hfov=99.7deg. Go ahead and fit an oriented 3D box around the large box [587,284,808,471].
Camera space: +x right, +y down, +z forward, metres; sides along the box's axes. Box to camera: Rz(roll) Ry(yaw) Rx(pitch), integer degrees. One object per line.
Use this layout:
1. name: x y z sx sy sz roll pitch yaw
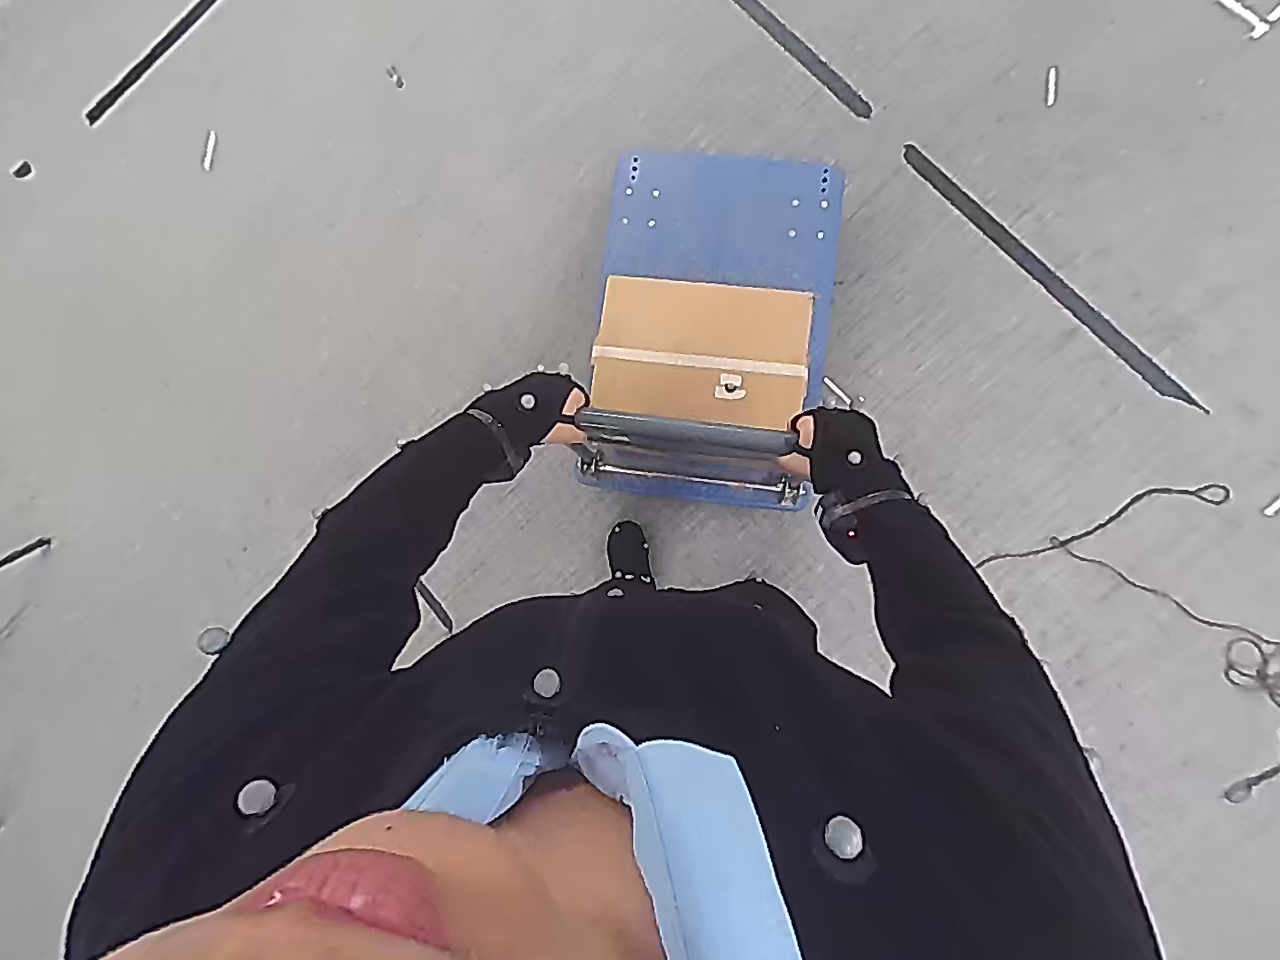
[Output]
1. large box: 0.120 -0.204 1.192 0.408 0.320 0.320 8 87 6
